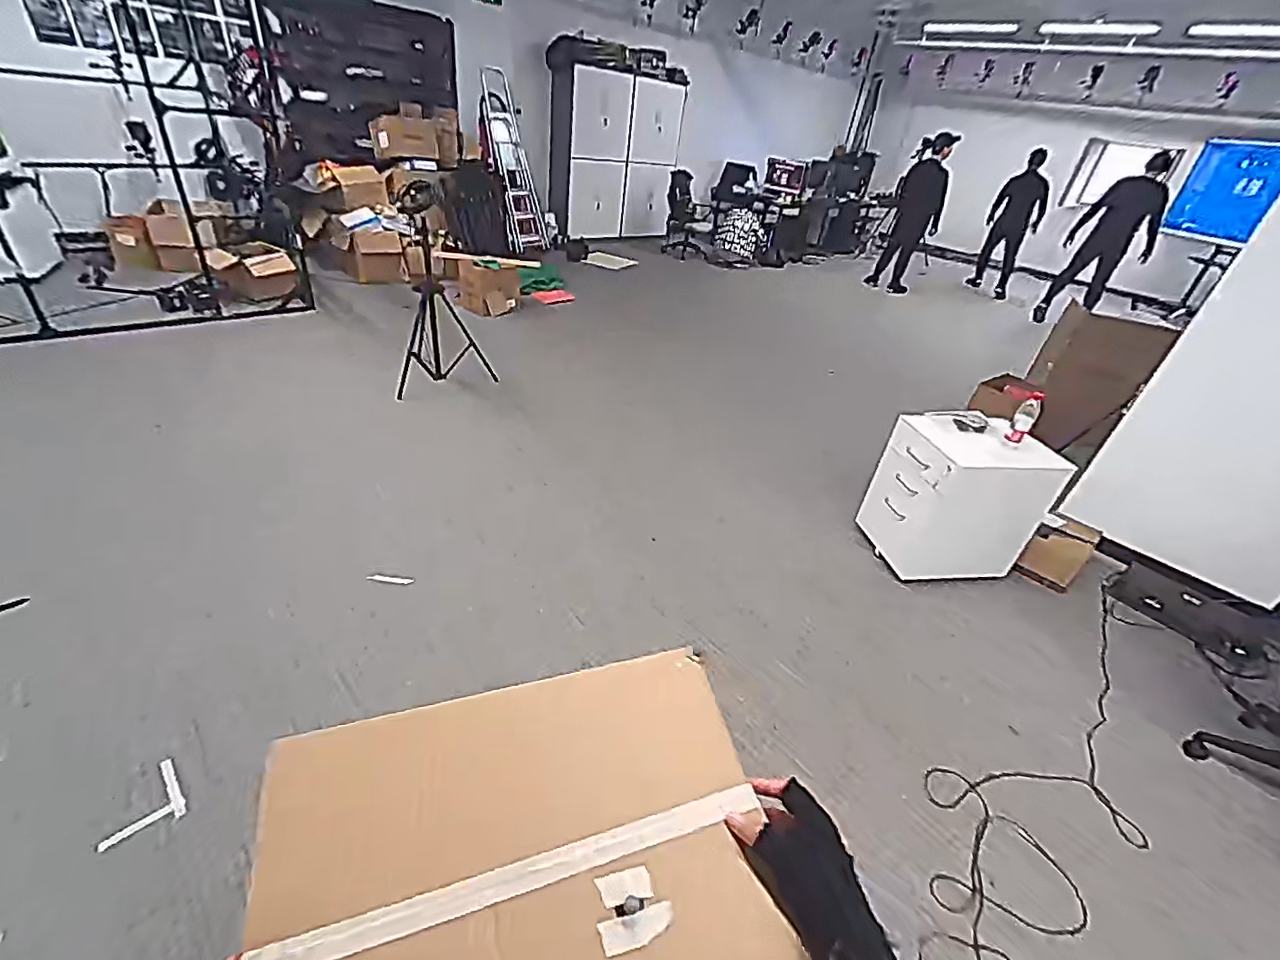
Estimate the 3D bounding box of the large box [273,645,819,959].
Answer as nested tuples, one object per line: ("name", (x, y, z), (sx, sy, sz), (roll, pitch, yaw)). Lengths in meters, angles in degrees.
("large box", (-0.108, 0.425, 0.560), (0.408, 0.320, 0.320), (-7, 48, -20))
